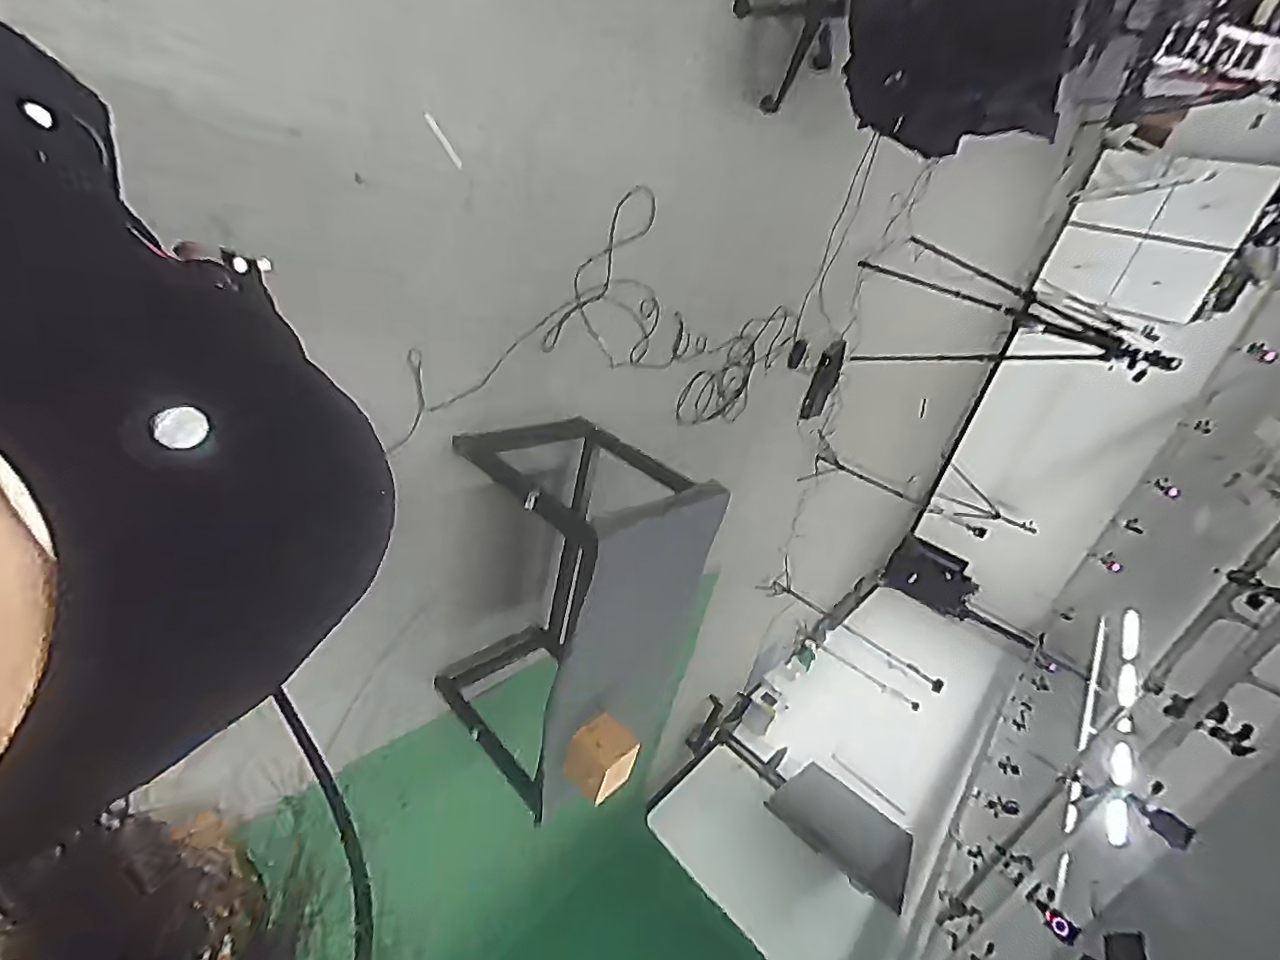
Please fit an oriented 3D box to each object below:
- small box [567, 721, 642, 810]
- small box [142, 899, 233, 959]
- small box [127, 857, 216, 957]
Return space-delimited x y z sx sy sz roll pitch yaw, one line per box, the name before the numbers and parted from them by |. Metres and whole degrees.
small box | -0.124 0.939 1.803 0.168 0.176 0.179 -12 125 -49
small box | -1.291 1.367 1.542 0.179 0.176 0.168 -13 125 -48
small box | -1.409 1.301 1.635 0.179 0.176 0.168 -13 125 -46
